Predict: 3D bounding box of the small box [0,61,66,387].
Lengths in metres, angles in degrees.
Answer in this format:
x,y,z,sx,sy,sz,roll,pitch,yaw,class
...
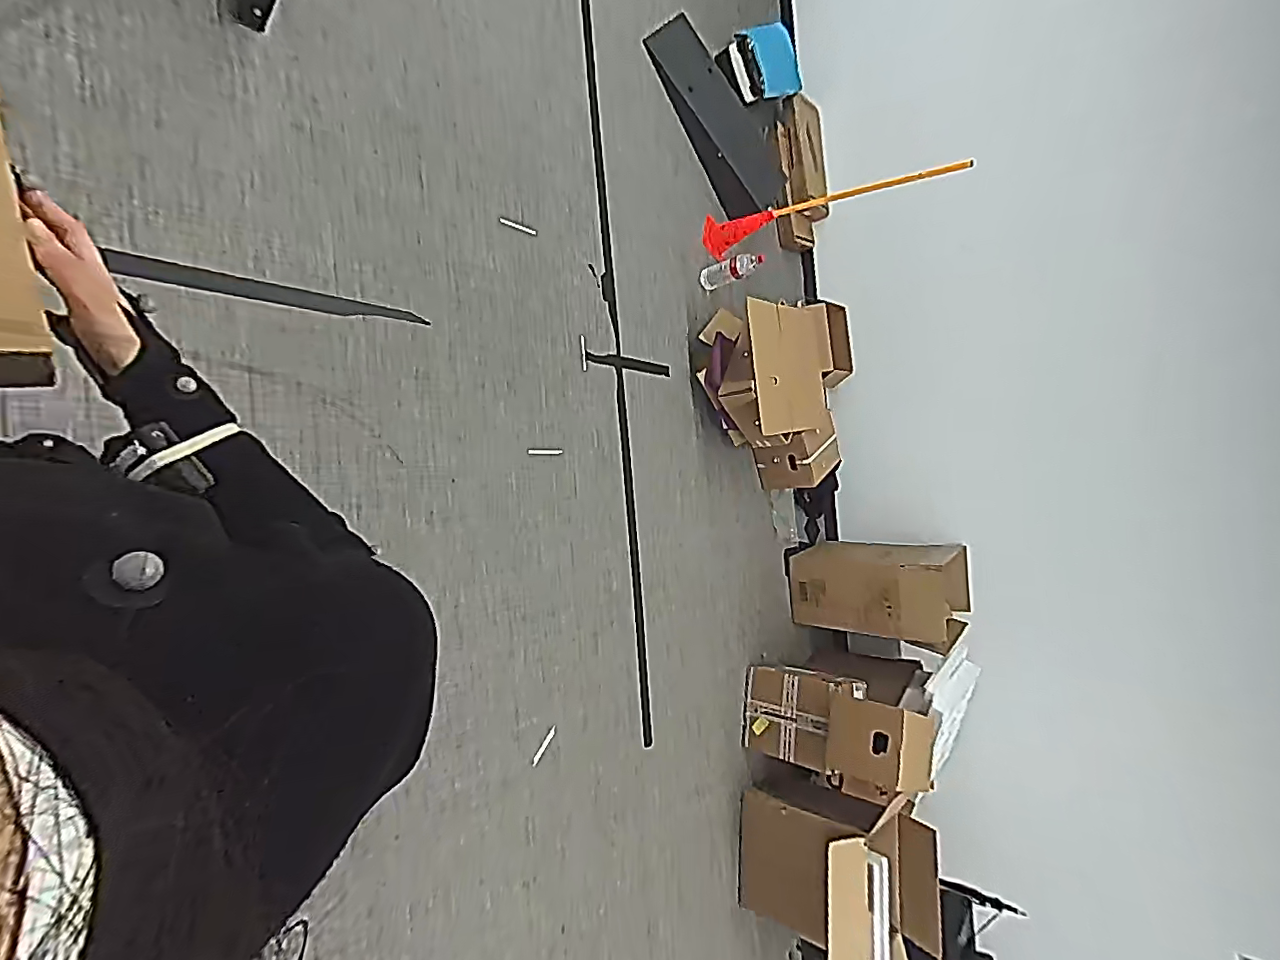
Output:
x,y,z,sx,sy,sz,roll,pitch,yaw,class
-0.474,-0.152,0.315,0.168,0.176,0.179,-14,100,-46,small box
